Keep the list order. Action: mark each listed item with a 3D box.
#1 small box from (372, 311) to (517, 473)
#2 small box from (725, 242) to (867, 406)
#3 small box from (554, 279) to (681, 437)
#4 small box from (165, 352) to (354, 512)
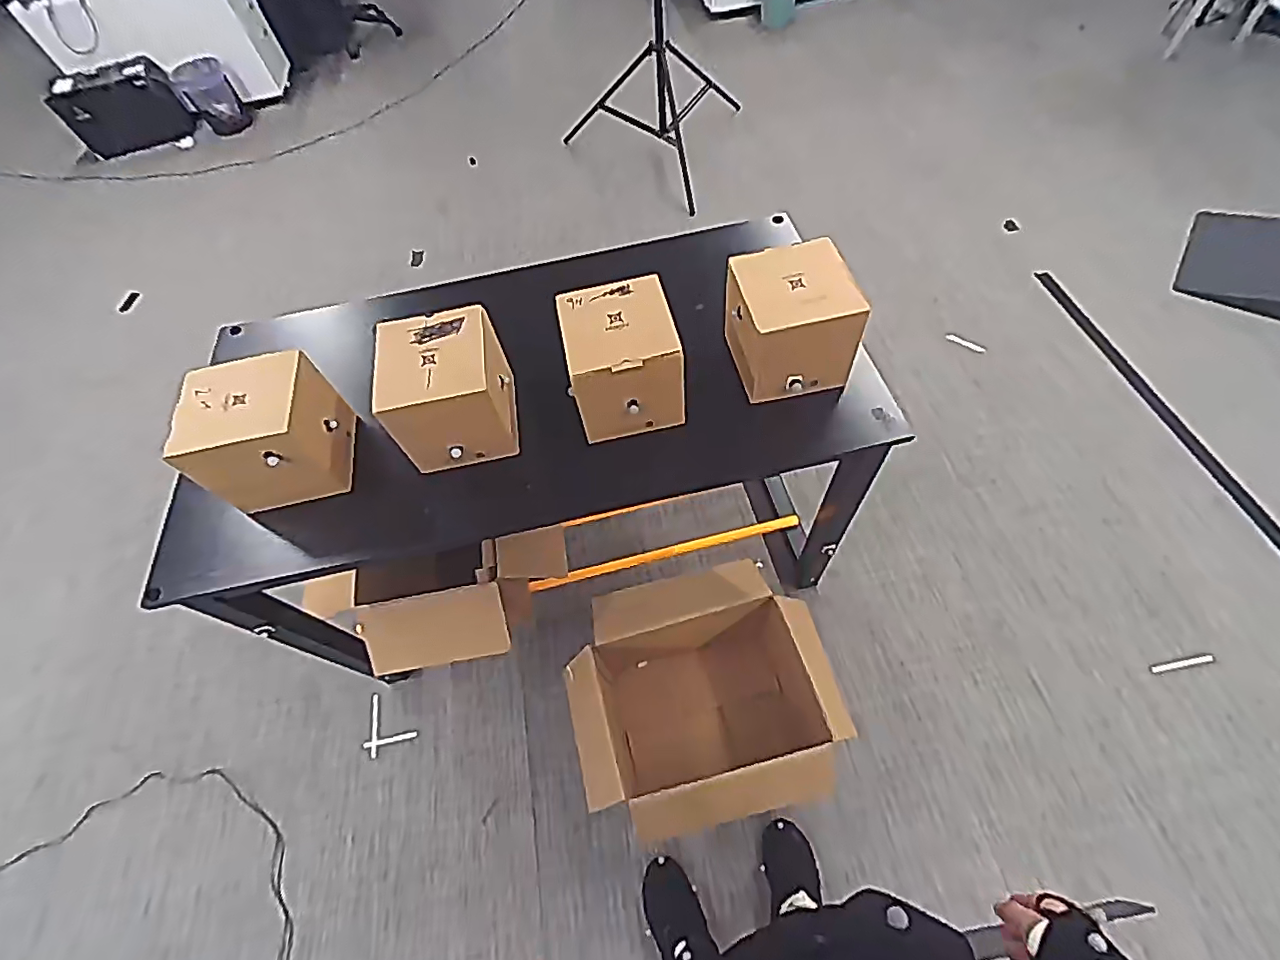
[{"bbox_3d":[-0.303,-0.137,0.869,0.168,0.176,0.179,-12,59,-1],"label":"small box"},{"bbox_3d":[0.239,-0.250,0.882,0.168,0.176,0.179,-13,59,0],"label":"small box"},{"bbox_3d":[-0.031,-0.187,0.872,0.168,0.176,0.179,-12,59,-1],"label":"small box"},{"bbox_3d":[-0.580,-0.071,0.855,0.179,0.176,0.168,-13,59,-2],"label":"small box"}]
